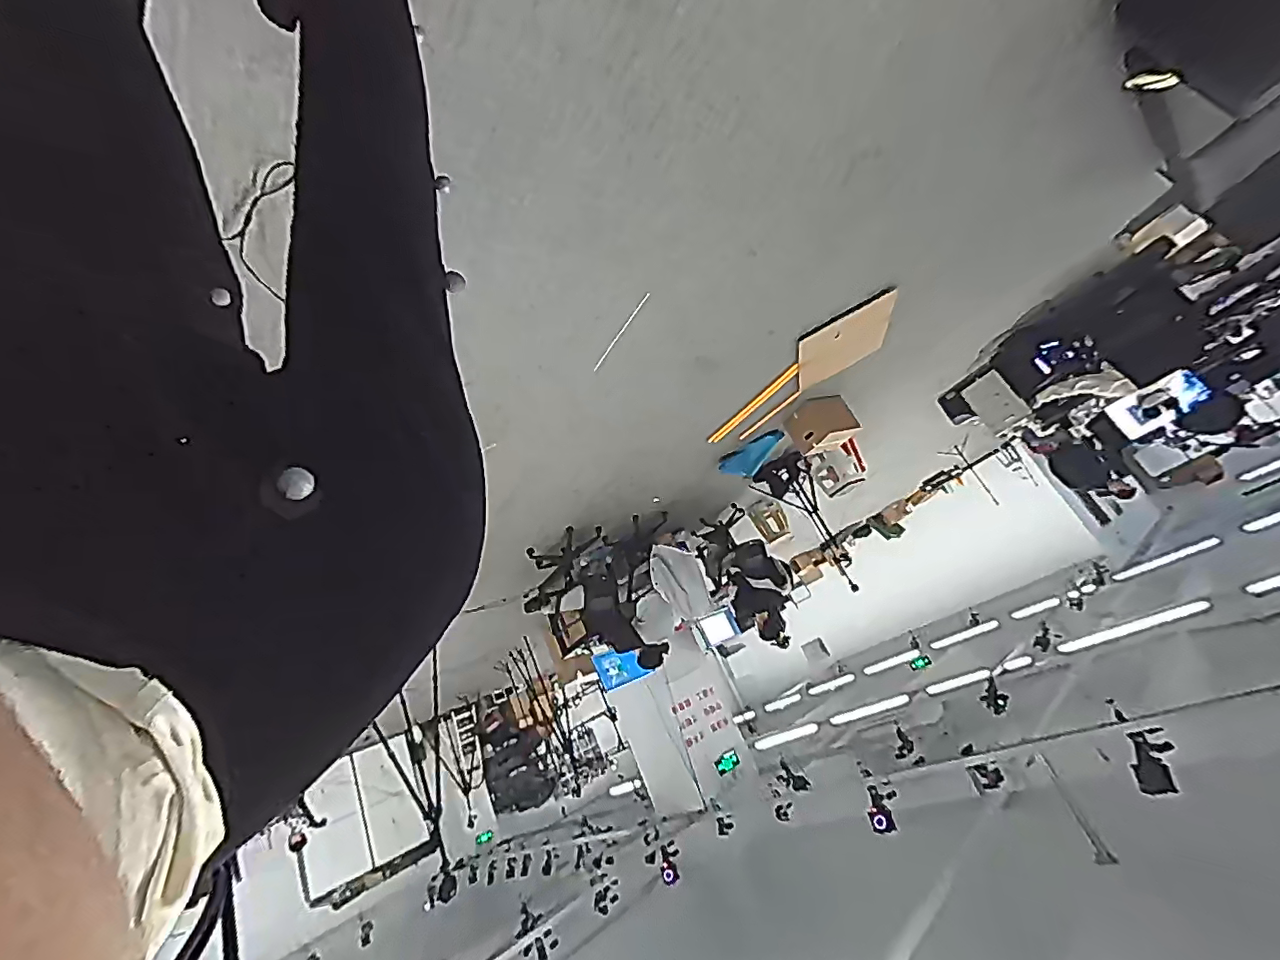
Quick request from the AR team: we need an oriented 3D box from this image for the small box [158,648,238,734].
[{"bbox_3d":[-1.298,0.616,1.590,0.168,0.176,0.179,-7,152,-41],"label":"small box"}]
